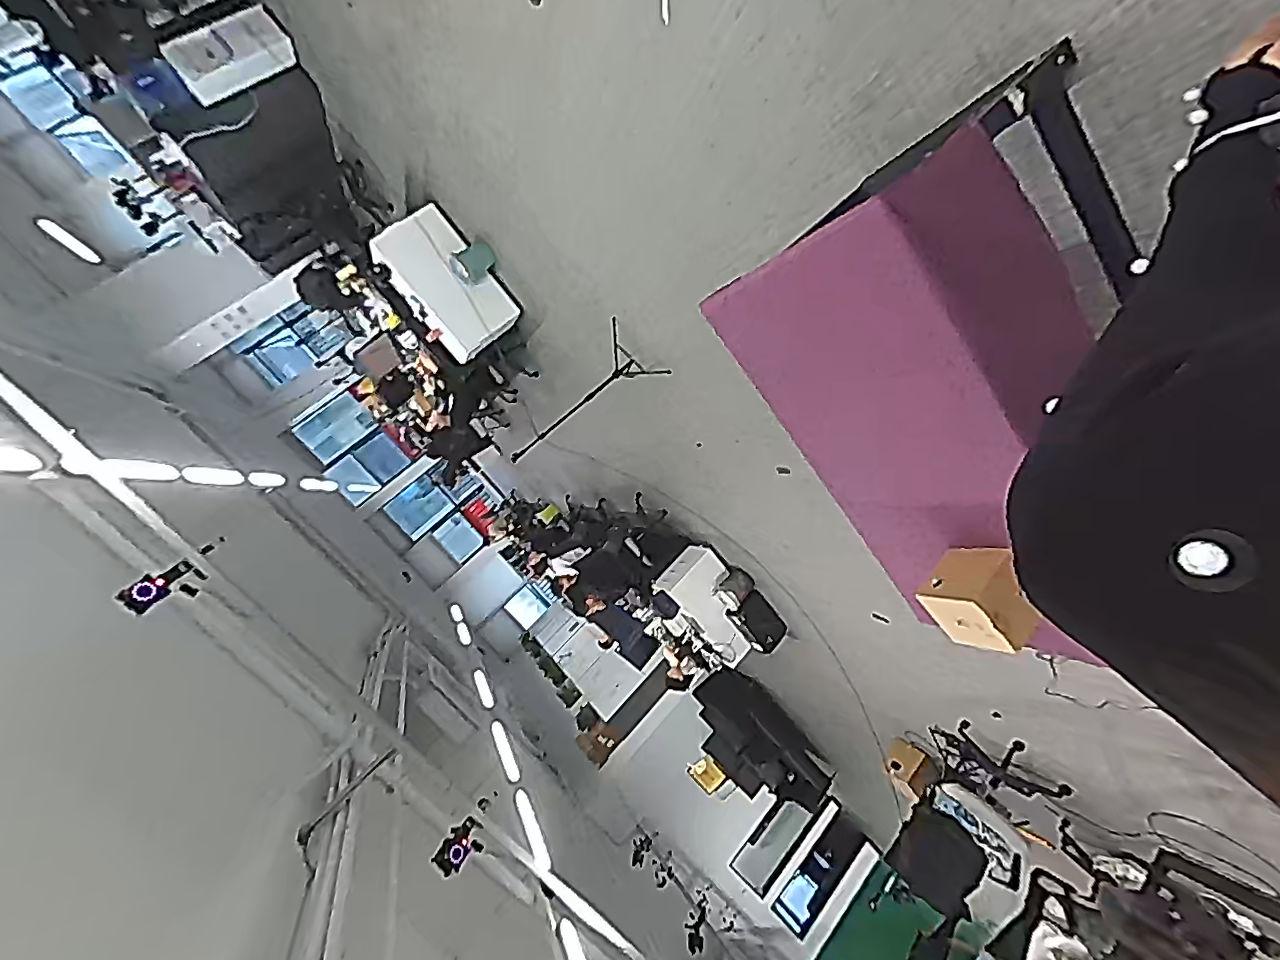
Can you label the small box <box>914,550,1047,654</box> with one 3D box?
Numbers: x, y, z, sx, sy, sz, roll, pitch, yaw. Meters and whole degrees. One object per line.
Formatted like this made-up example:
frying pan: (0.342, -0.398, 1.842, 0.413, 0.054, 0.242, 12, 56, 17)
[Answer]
small box: (0.809, 0.281, 1.288, 0.168, 0.176, 0.179, 48, 162, -6)
